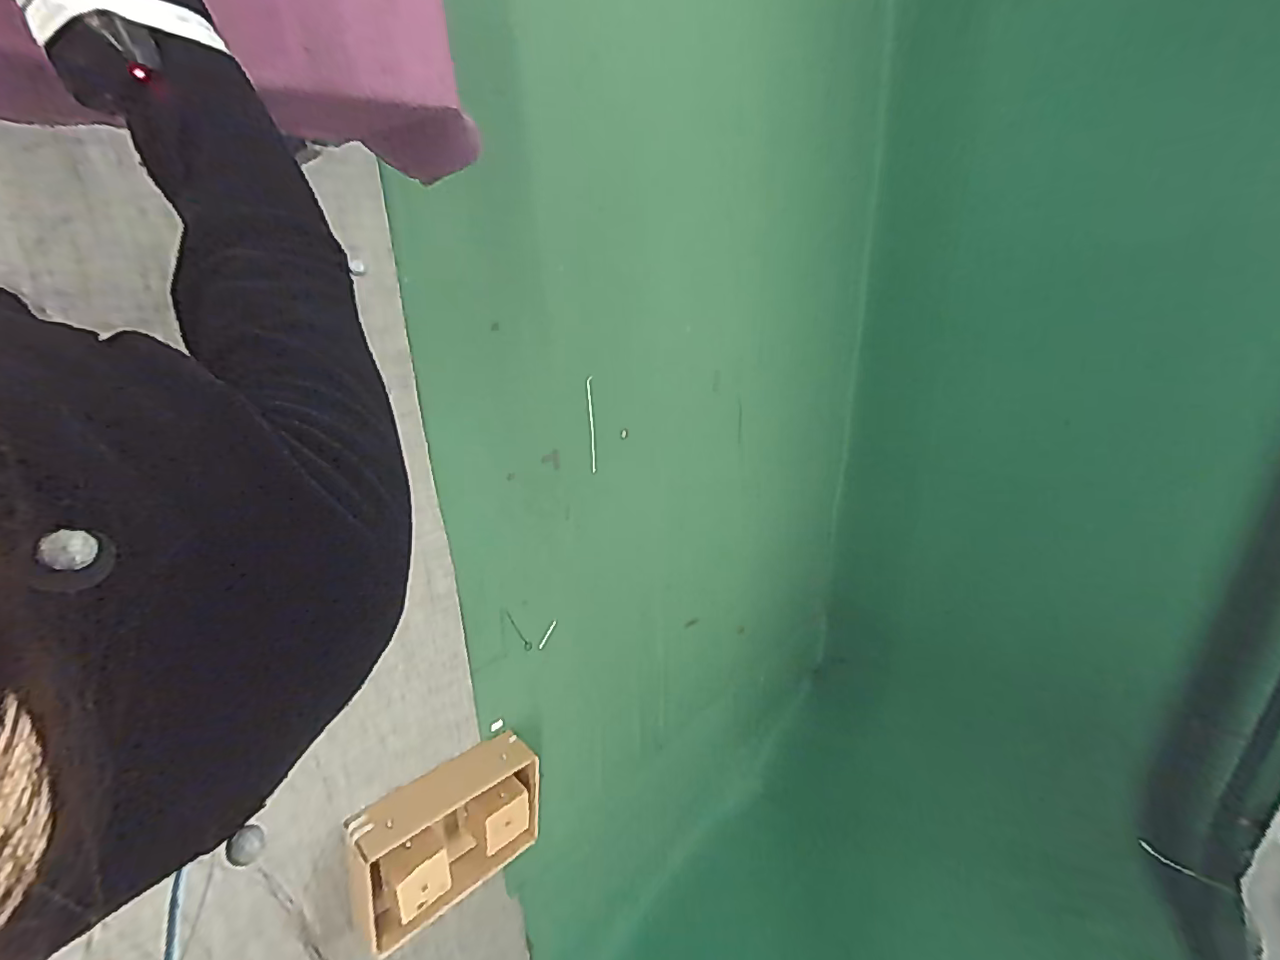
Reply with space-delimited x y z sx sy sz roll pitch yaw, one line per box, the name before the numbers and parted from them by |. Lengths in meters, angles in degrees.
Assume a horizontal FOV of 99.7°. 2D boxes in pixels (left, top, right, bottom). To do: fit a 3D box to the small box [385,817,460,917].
small box | -0.709 1.241 1.756 0.168 0.176 0.179 -17 114 -43
